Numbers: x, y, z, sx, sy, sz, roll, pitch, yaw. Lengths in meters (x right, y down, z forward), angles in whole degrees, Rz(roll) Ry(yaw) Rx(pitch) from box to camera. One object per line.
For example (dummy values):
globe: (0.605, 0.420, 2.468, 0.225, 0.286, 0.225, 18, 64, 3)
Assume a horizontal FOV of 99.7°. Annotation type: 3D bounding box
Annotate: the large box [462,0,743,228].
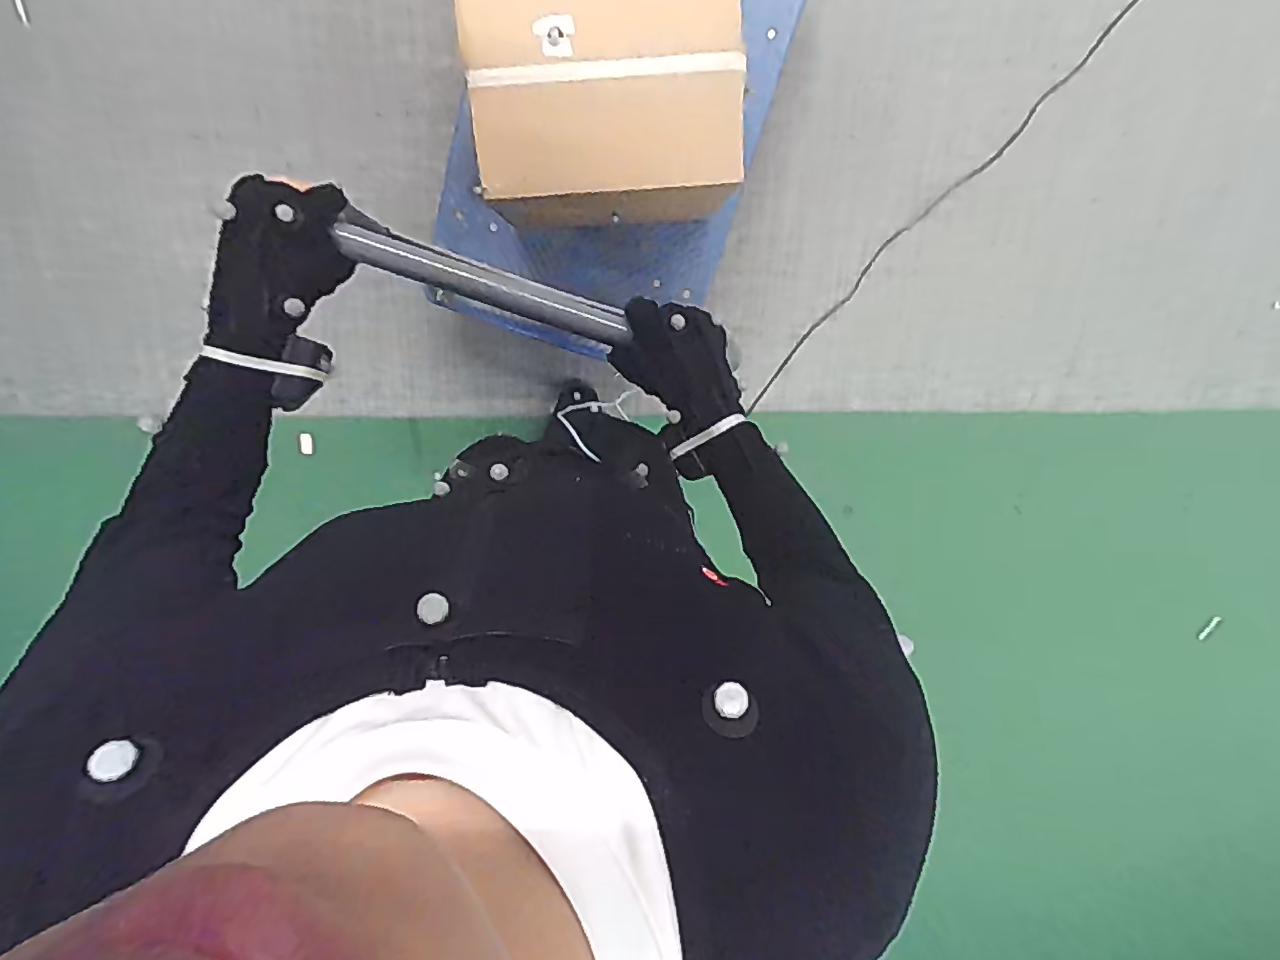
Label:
large box: (-0.051, -0.639, 0.941, 0.408, 0.320, 0.320, -4, 106, -1)
